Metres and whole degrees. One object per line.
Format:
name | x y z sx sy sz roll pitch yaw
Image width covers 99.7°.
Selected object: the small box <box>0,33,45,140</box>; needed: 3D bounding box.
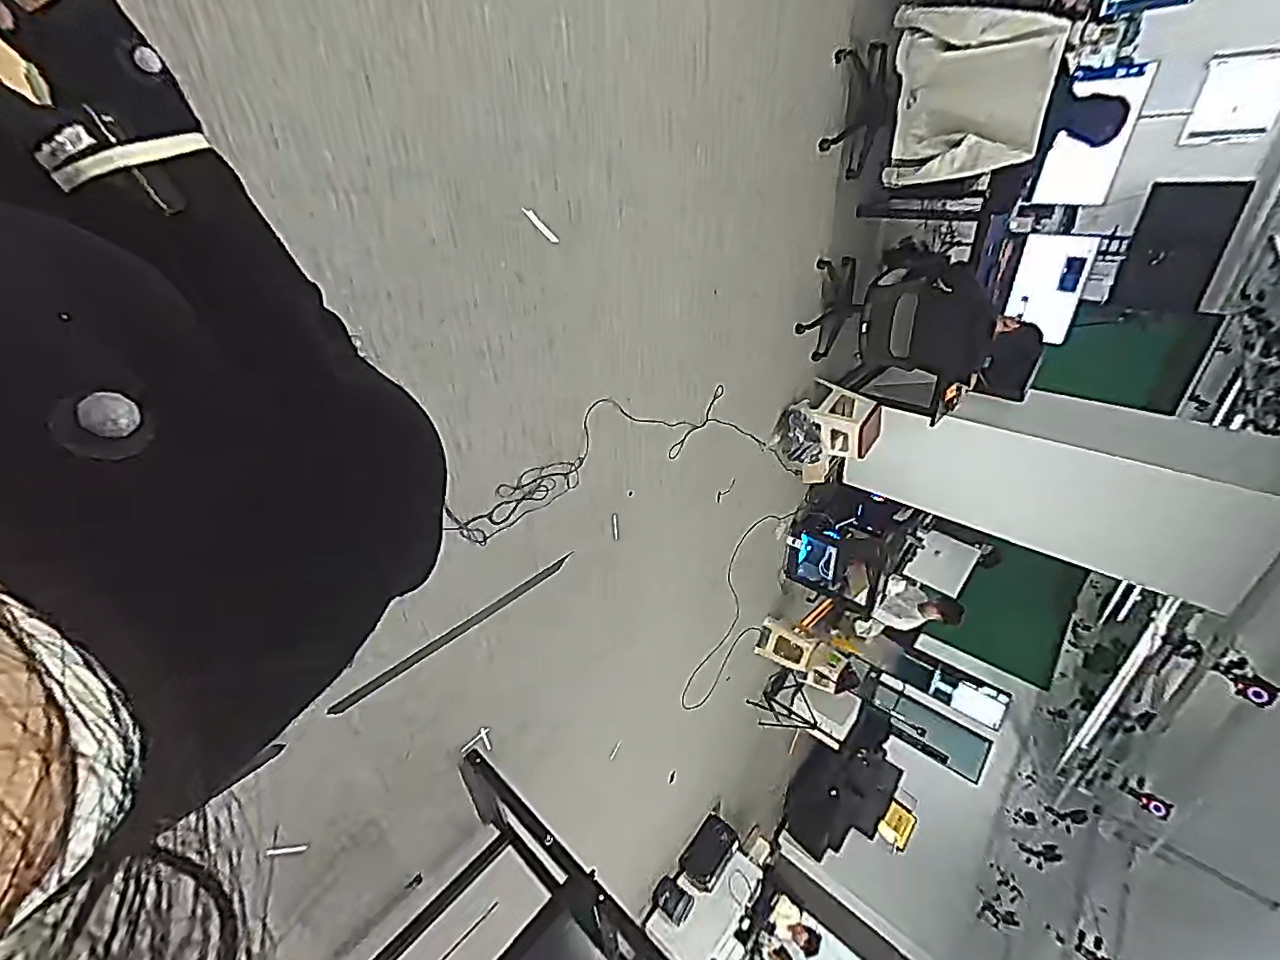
small box | -0.923 -0.534 0.688 0.179 0.176 0.168 -30 132 -39
